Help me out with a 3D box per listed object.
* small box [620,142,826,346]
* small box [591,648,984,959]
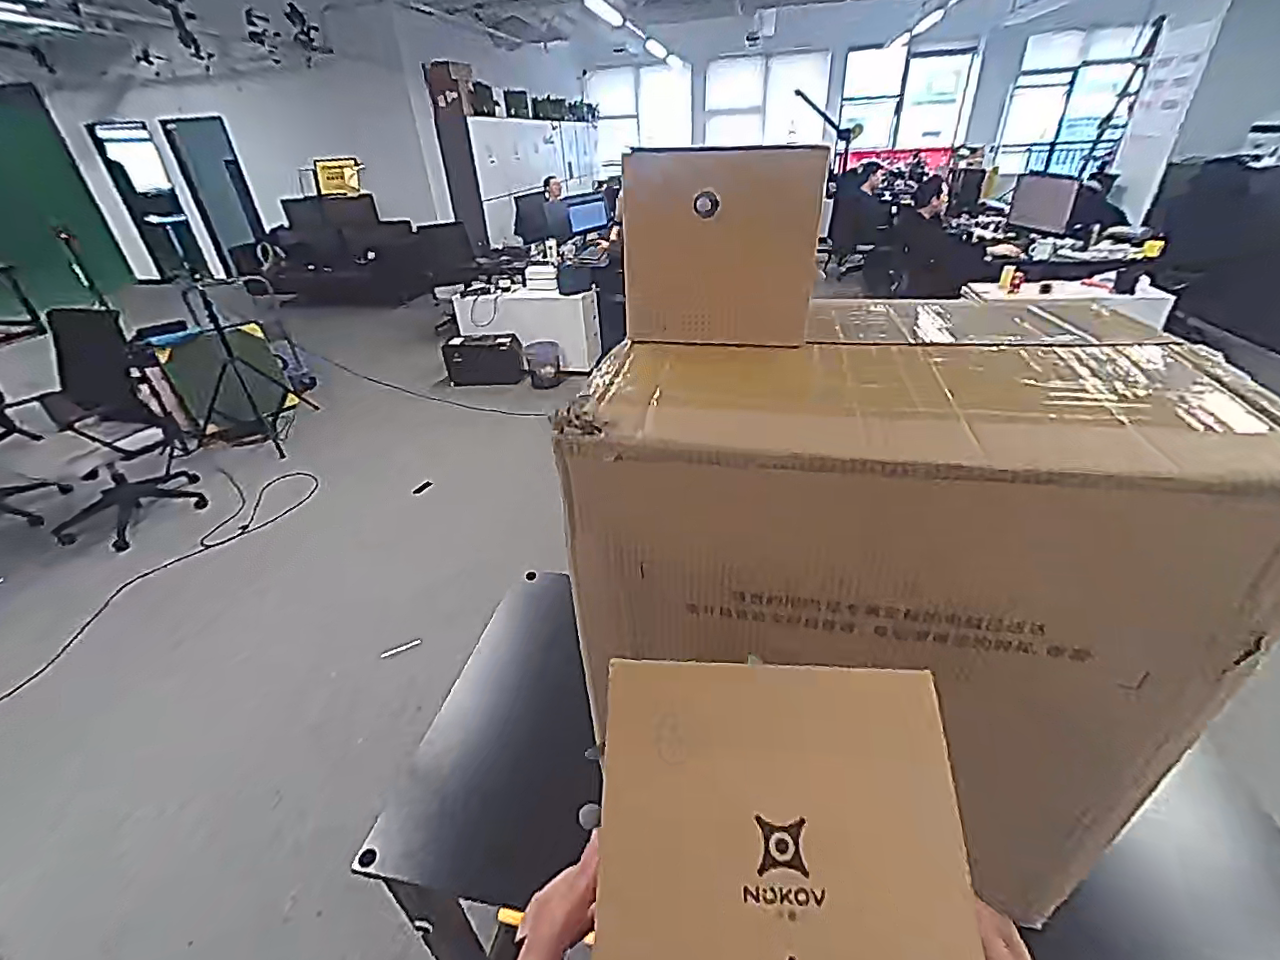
[{"bbox_3d":[0.085,-0.242,0.557,0.179,0.176,0.168,5,31,11],"label":"small box"},{"bbox_3d":[0.066,0.203,0.313,0.168,0.176,0.179,1,65,4],"label":"small box"}]
